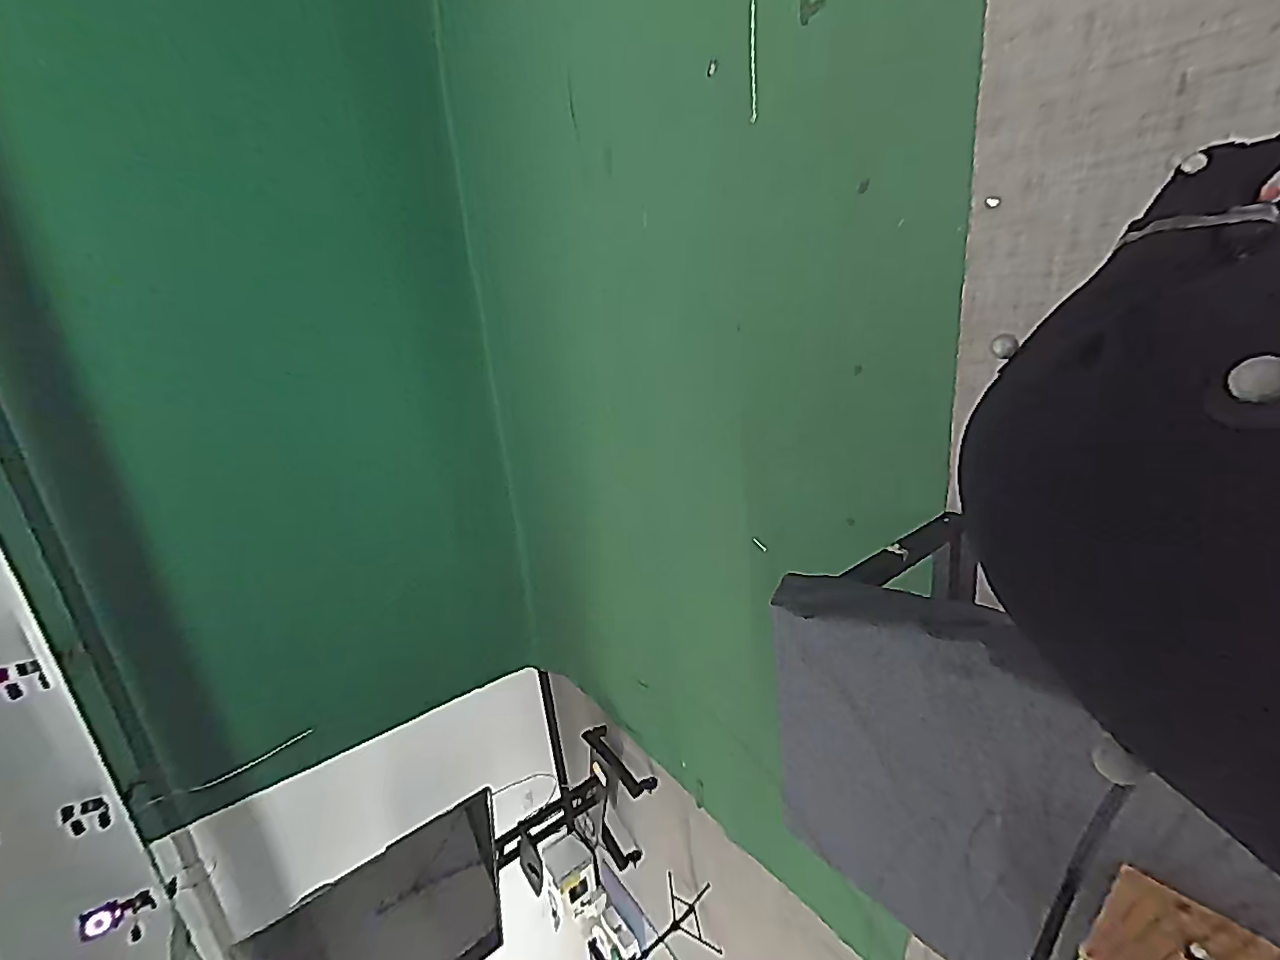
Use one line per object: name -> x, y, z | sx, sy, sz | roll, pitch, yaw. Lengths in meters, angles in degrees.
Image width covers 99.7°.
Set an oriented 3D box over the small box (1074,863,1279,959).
small box -> 0.629, 0.613, 0.635 | 0.168, 0.176, 0.179 | 14, 115, 52
